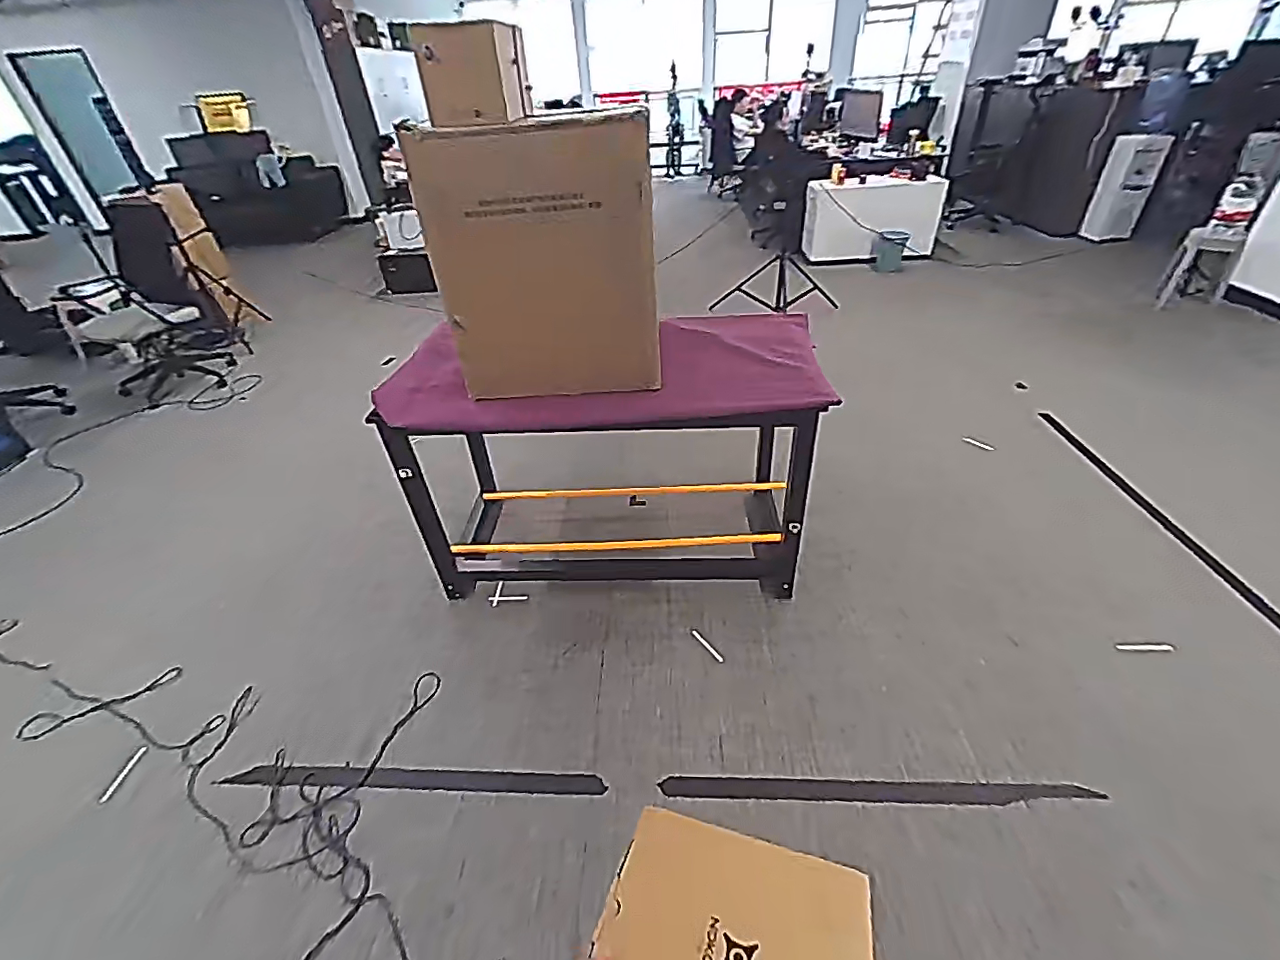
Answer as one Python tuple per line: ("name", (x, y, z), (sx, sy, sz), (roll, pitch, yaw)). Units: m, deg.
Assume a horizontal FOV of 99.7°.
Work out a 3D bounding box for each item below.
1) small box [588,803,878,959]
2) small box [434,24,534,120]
("small box", (0.059, 0.375, 0.373), (0.179, 0.176, 0.168), (7, 22, 17))
("small box", (-0.358, -0.957, 1.277), (0.179, 0.176, 0.168), (-3, 37, -1))
